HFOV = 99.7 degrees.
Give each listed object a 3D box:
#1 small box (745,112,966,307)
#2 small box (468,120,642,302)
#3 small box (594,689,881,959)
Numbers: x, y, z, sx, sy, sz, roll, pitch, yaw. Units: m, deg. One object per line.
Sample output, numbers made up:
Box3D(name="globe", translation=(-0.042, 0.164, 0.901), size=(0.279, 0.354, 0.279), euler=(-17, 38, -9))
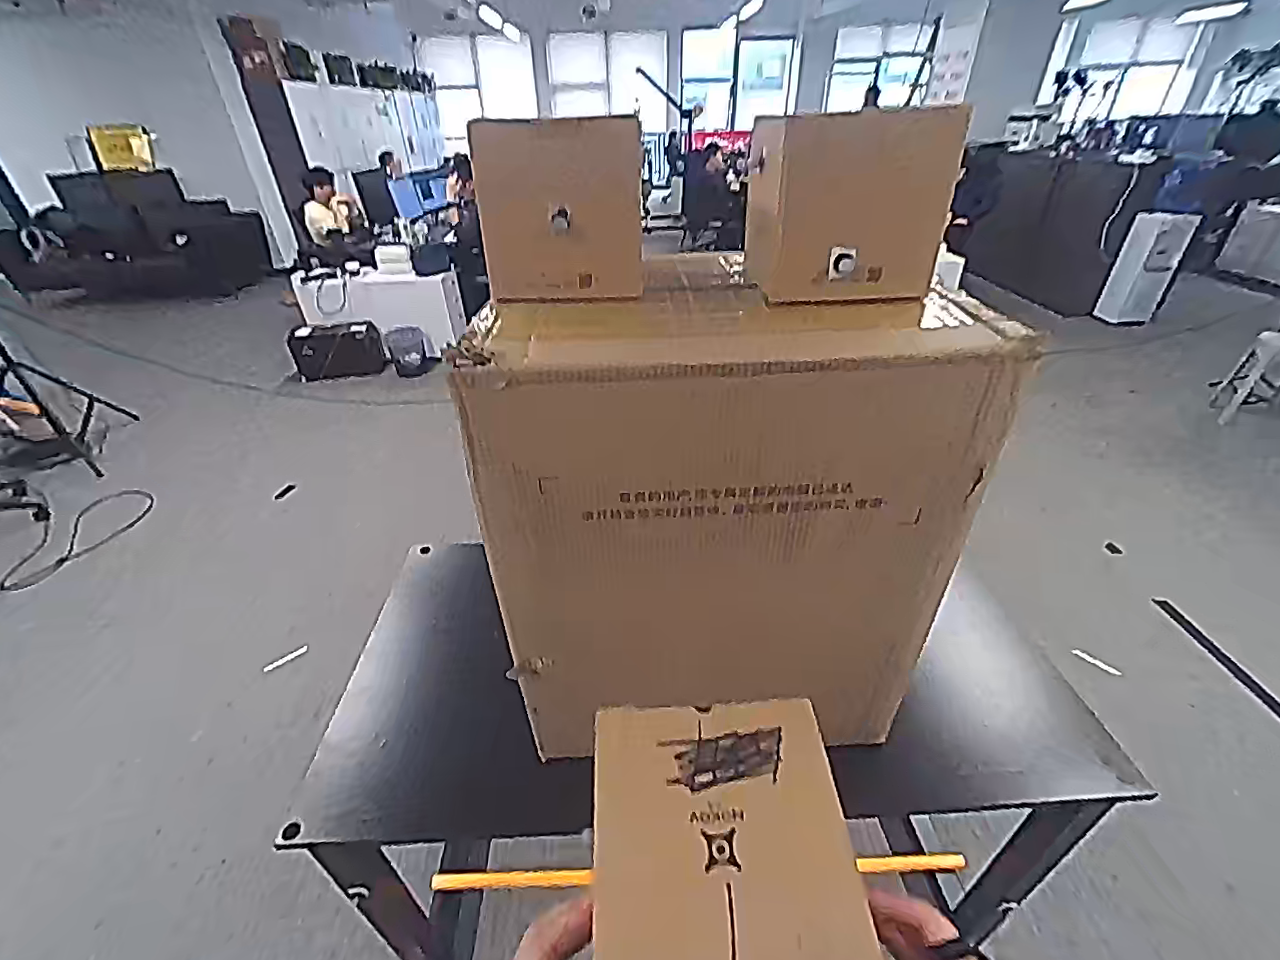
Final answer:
Box3D(name="small box", translation=(0.212, -0.296, 0.594), size=(0.168, 0.176, 0.179), euler=(-3, 34, 2))
Box3D(name="small box", translation=(-0.083, -0.309, 0.622), size=(0.168, 0.176, 0.179), euler=(-1, 34, -2))
Box3D(name="small box", translation=(0.053, 0.284, 0.413), size=(0.168, 0.176, 0.179), euler=(-3, 43, -1))
